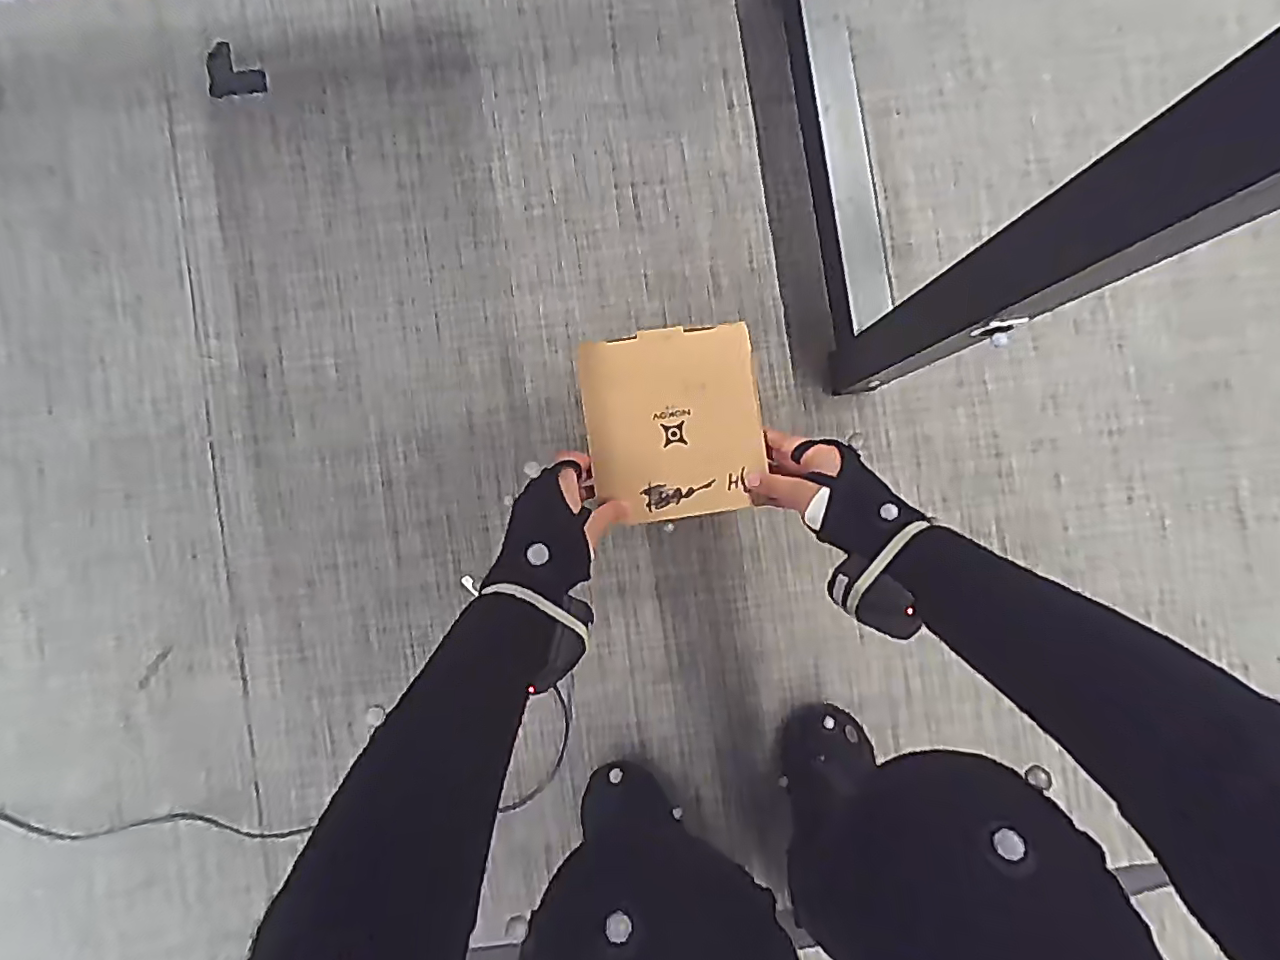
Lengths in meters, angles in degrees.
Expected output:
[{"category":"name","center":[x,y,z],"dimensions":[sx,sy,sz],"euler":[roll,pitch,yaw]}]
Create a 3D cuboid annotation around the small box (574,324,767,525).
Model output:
[{"category":"small box","center":[0.027,-0.050,0.588],"dimensions":[0.168,0.176,0.179],"euler":[-8,88,0]}]
